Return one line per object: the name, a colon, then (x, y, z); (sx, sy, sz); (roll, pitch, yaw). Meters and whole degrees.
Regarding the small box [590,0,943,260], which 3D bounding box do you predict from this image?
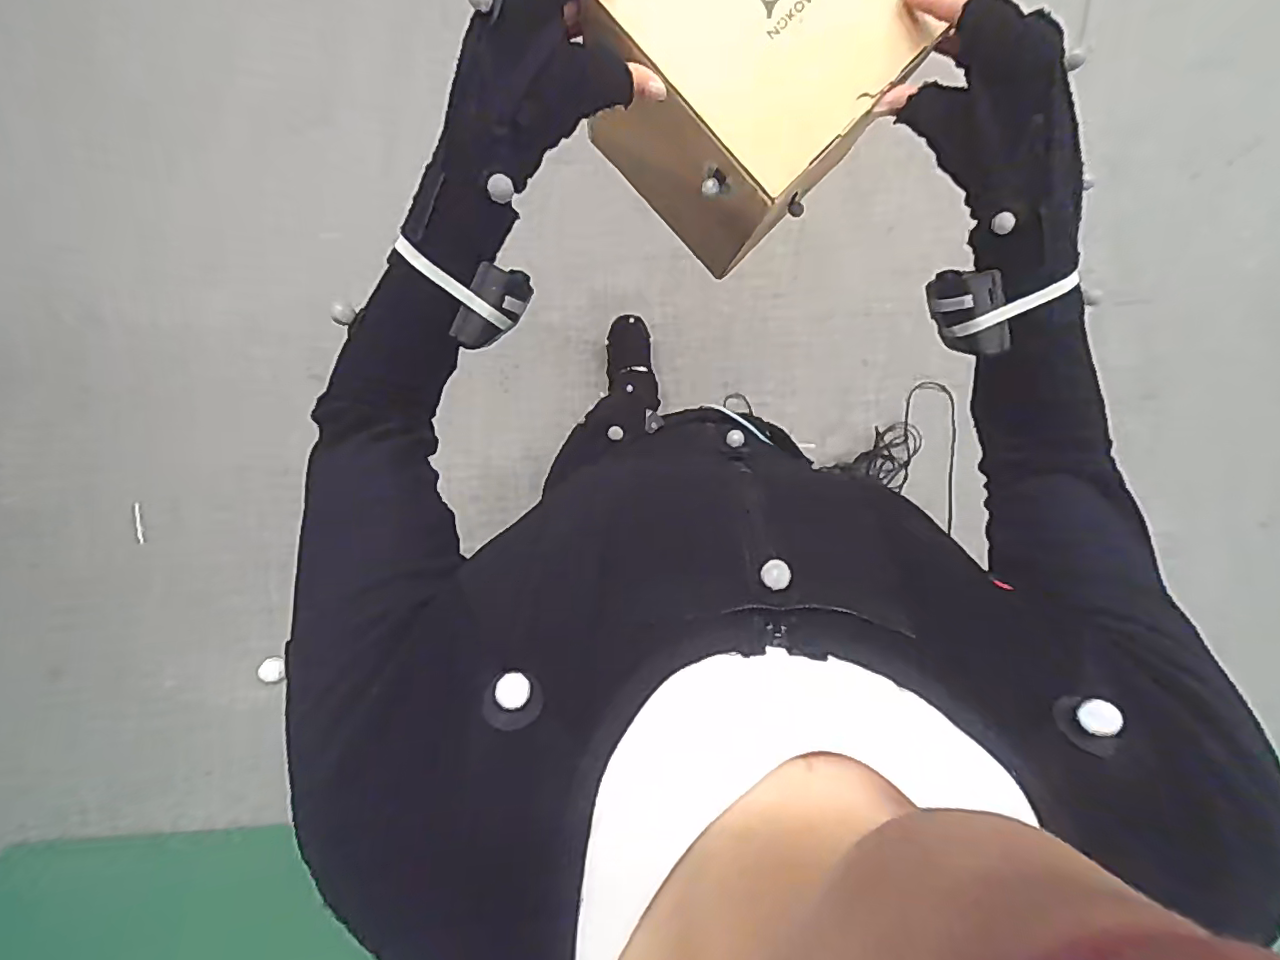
small box: (0.073, -0.307, 0.417); (0.168, 0.176, 0.179); (-44, 97, 0)
